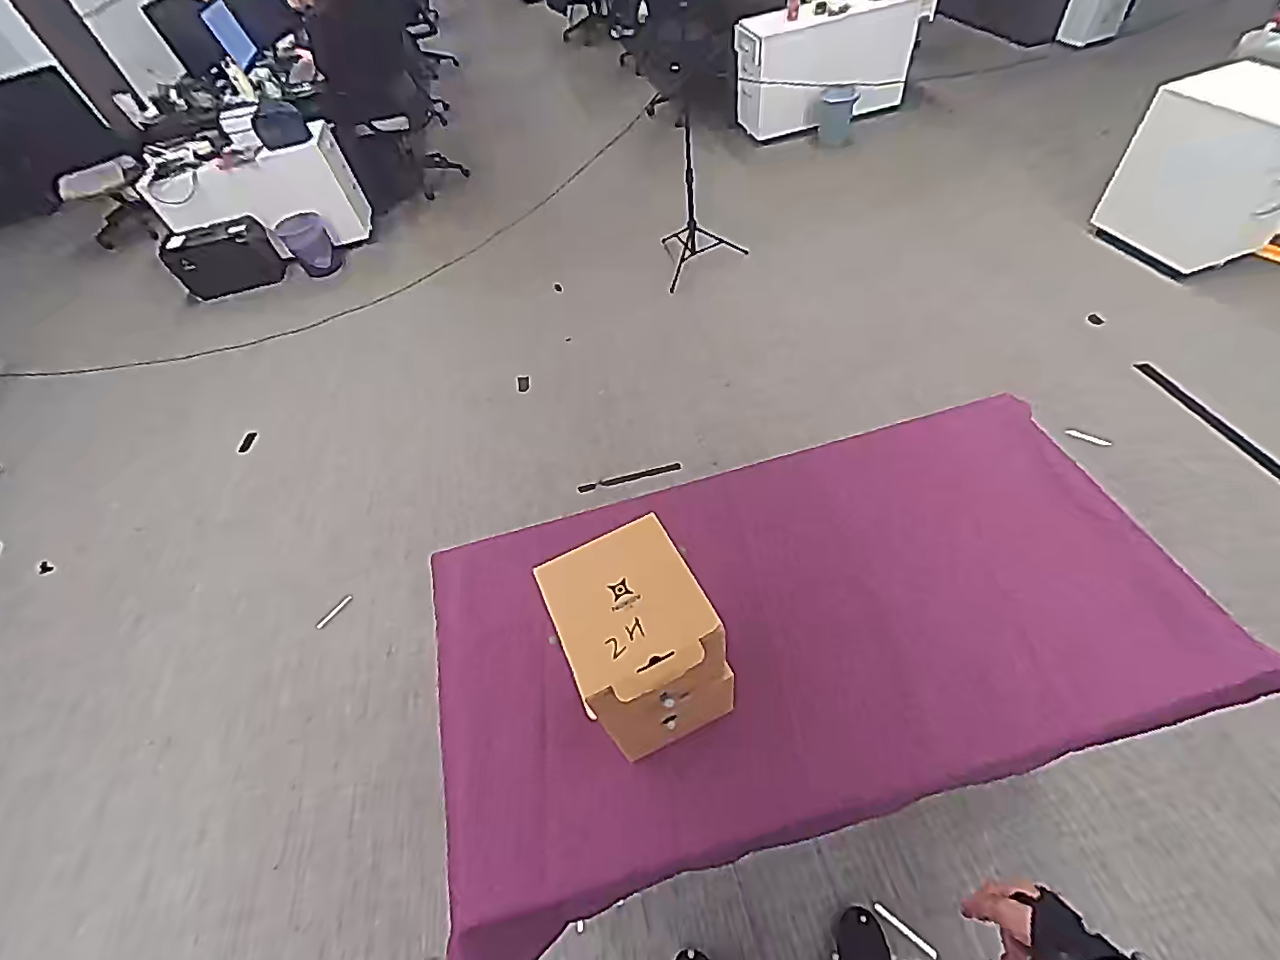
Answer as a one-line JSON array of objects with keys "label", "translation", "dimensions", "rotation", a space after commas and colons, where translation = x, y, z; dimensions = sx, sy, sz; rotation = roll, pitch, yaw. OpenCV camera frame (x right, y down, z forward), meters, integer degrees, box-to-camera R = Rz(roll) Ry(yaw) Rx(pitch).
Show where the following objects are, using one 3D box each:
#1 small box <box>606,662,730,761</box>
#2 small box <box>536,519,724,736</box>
[{"label": "small box", "translation": [0.022, 0.288, 0.802], "dimensions": [0.179, 0.176, 0.168], "rotation": [-23, 53, -10]}, {"label": "small box", "translation": [-0.009, 0.186, 0.676], "dimensions": [0.168, 0.176, 0.179], "rotation": [-25, 53, -9]}]
